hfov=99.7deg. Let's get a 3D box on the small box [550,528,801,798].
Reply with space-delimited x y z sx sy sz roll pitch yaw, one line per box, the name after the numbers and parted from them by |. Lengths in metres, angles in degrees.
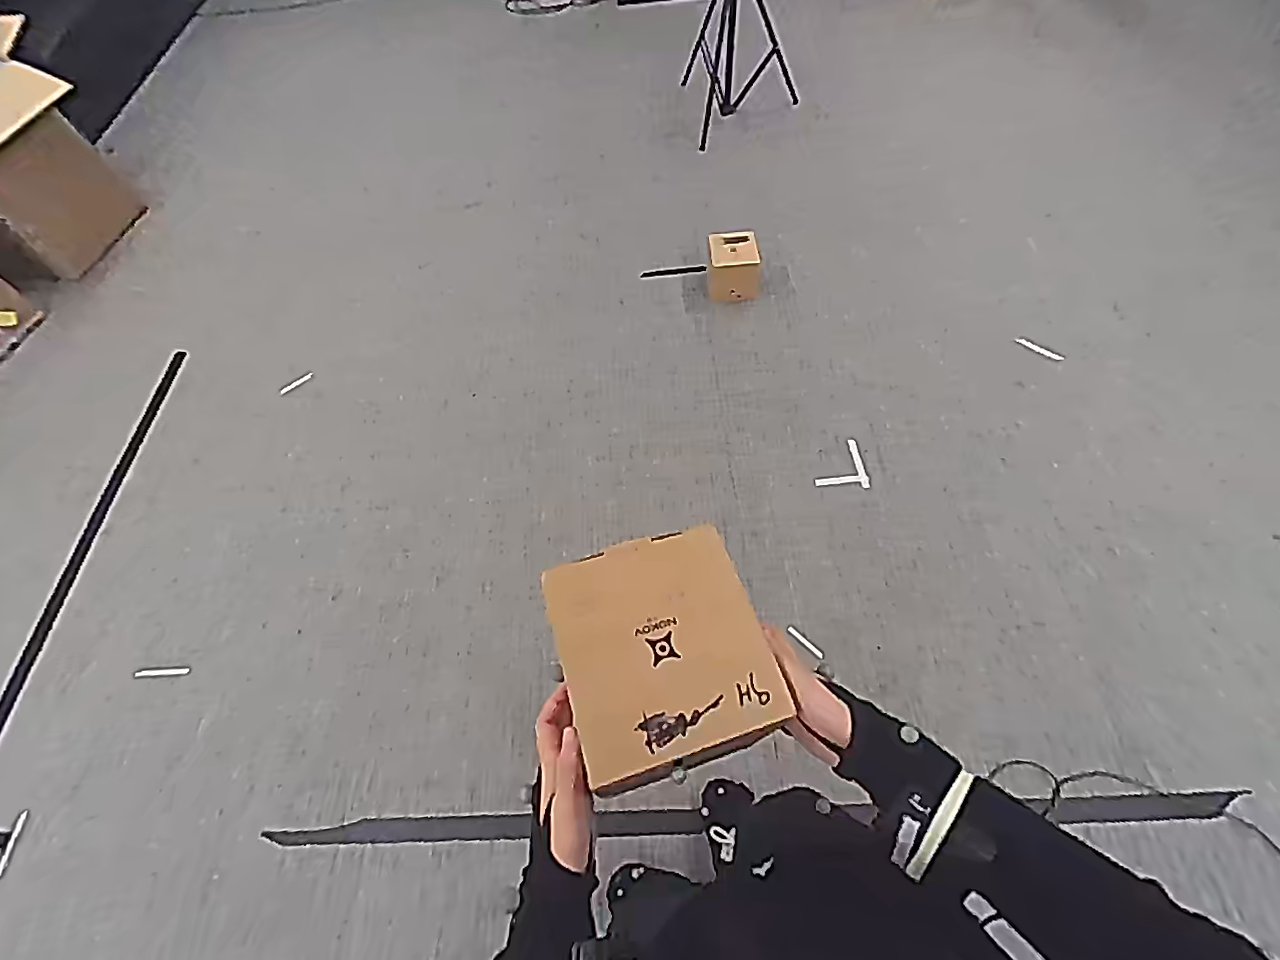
0.019 0.174 0.505 0.168 0.176 0.179 -14 58 -10 | small box
